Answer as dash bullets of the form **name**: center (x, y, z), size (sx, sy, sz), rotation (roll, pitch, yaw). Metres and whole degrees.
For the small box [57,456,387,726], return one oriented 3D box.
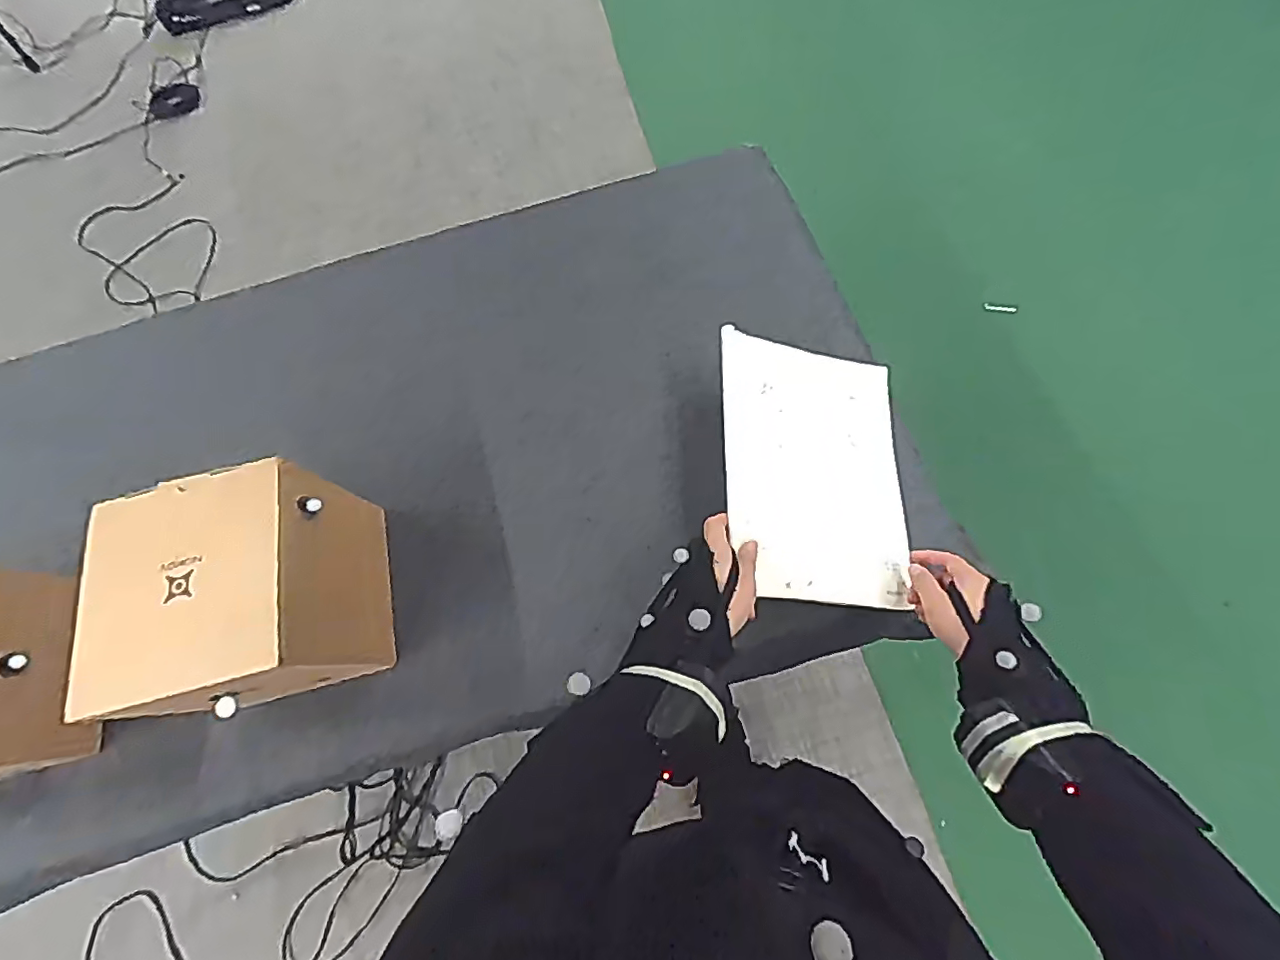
- **small box**: center (-0.351, 0.104, 0.491), size (0.168, 0.176, 0.179), rotation (-15, 69, 1)
